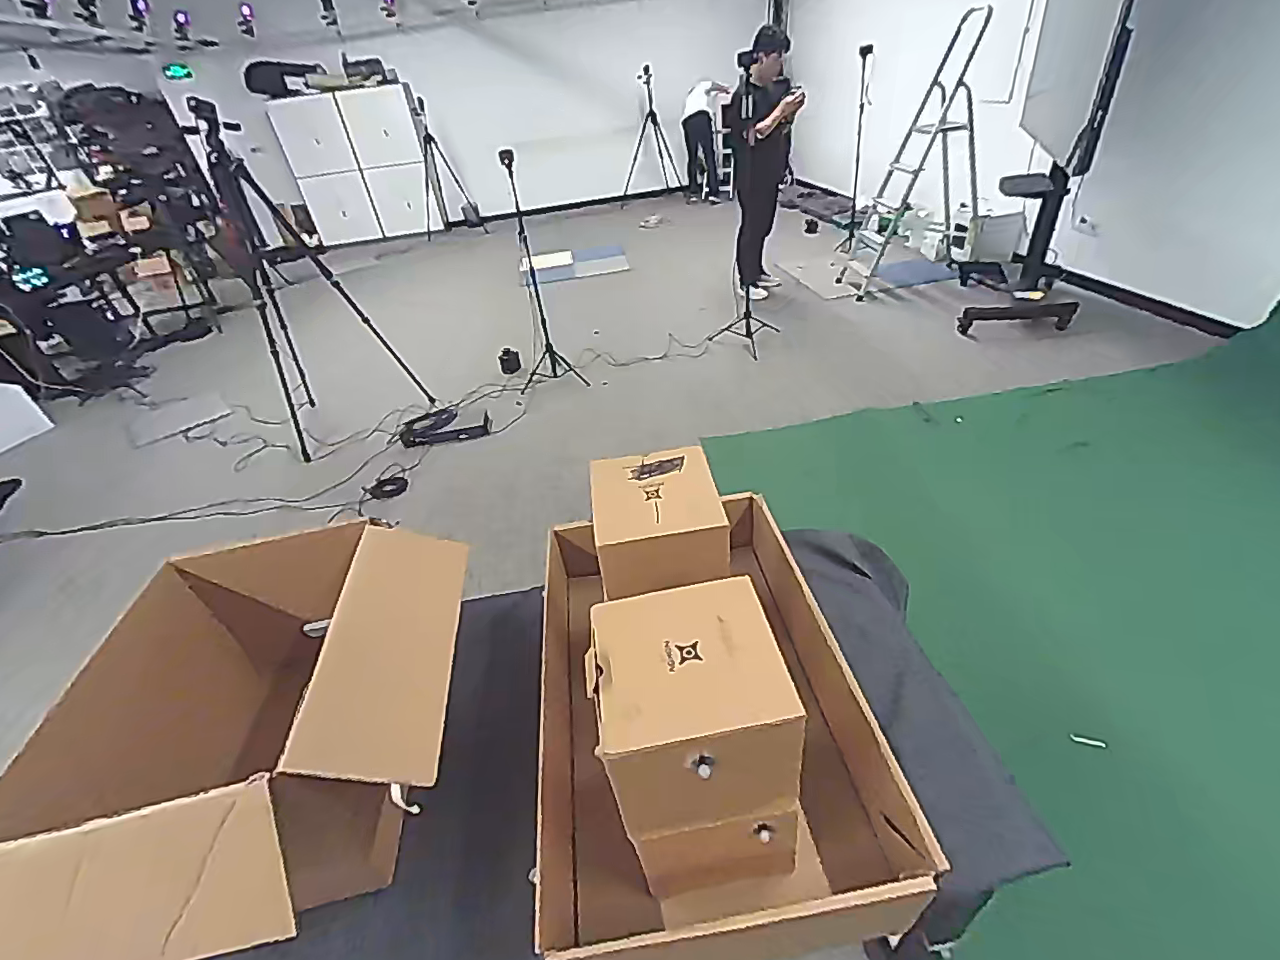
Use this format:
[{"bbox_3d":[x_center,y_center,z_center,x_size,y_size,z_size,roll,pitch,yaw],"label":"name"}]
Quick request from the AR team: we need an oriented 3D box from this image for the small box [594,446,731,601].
[{"bbox_3d":[0.029,0.077,0.769,0.168,0.176,0.179,-8,39,-1],"label":"small box"}]

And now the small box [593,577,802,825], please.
[{"bbox_3d":[0.054,0.231,0.567,0.179,0.176,0.168,-10,37,-3],"label":"small box"}]
